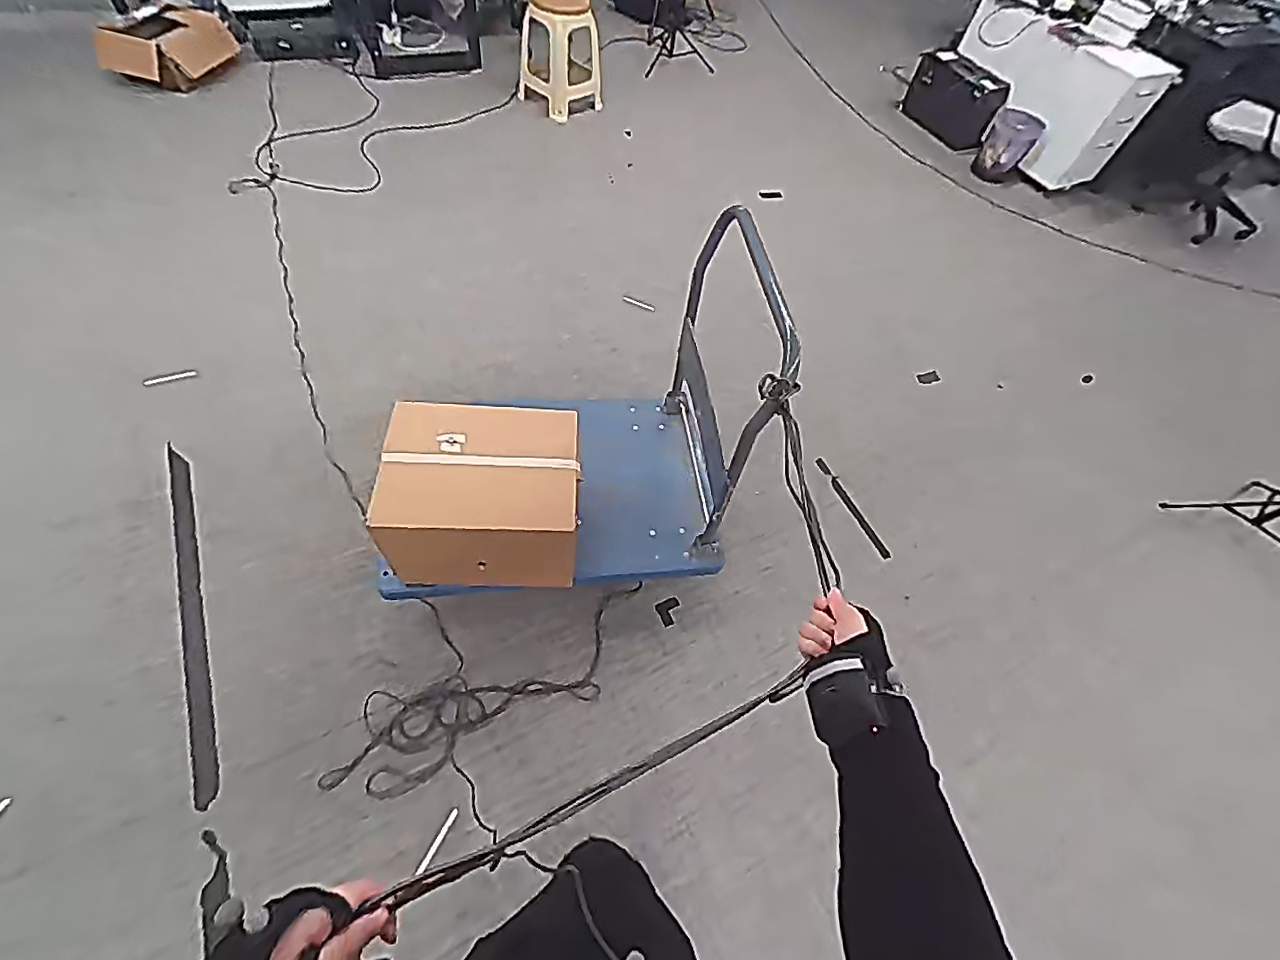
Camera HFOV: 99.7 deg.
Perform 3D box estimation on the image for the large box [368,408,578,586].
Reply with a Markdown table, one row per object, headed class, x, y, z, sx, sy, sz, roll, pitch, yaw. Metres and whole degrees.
| class | x | y | z | sx | sy | sz | roll | pitch | yaw |
| --- | --- | --- | --- | --- | --- | --- | --- | --- | --- |
| large box | -0.348 | 0.050 | 1.260 | 0.408 | 0.320 | 0.320 | 2 | 57 | -7 |
